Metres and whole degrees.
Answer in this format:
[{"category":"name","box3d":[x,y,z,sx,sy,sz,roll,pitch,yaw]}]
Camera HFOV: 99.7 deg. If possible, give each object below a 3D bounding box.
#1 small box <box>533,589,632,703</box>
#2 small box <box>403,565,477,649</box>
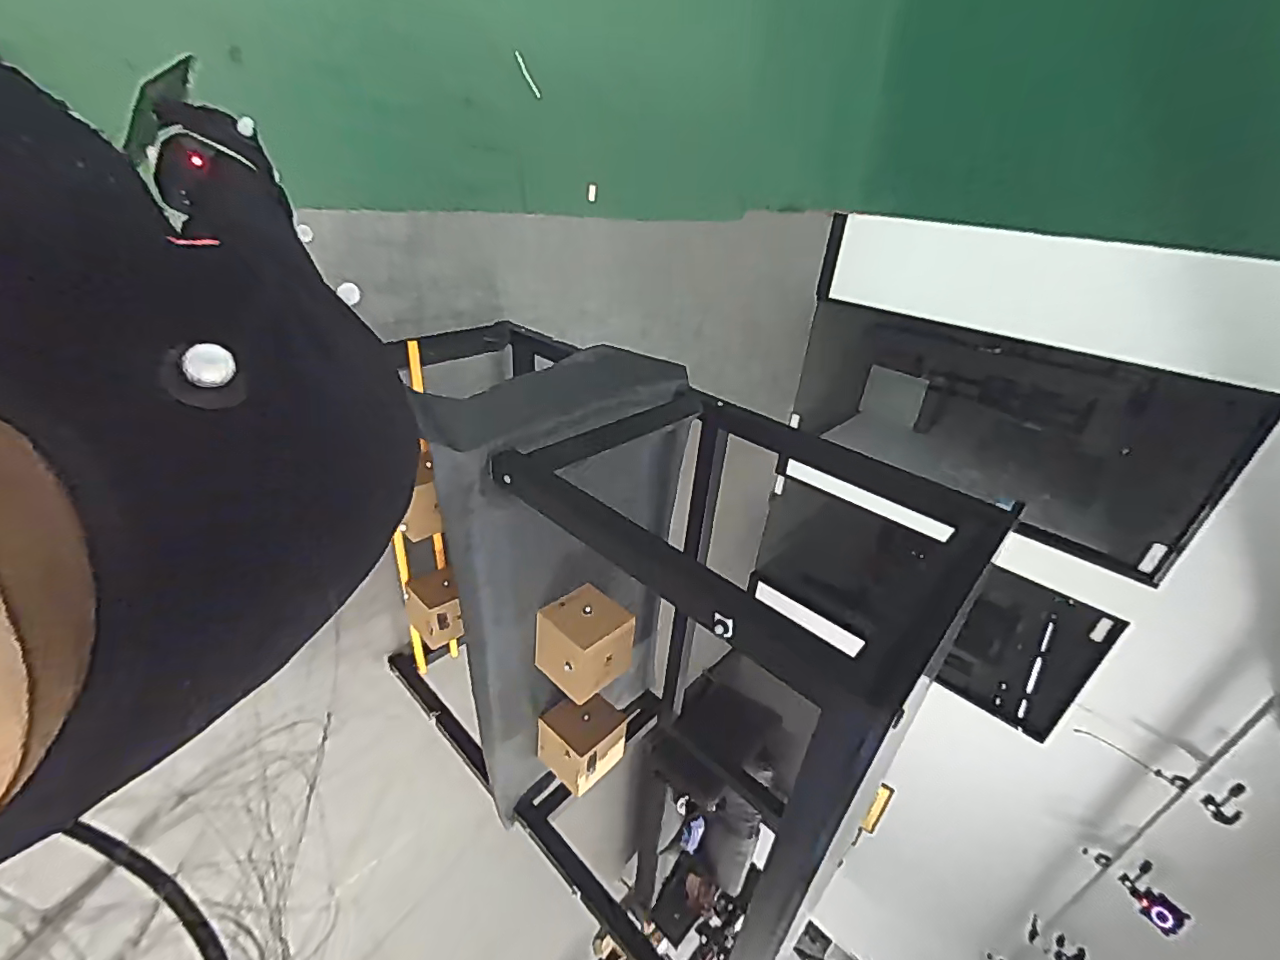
[{"category":"small box","box3d":[-0.141,0.385,1.297,0.168,0.176,0.179,-22,129,-43]},{"category":"small box","box3d":[-0.652,0.406,1.757,0.179,0.176,0.168,-22,129,-44]}]
